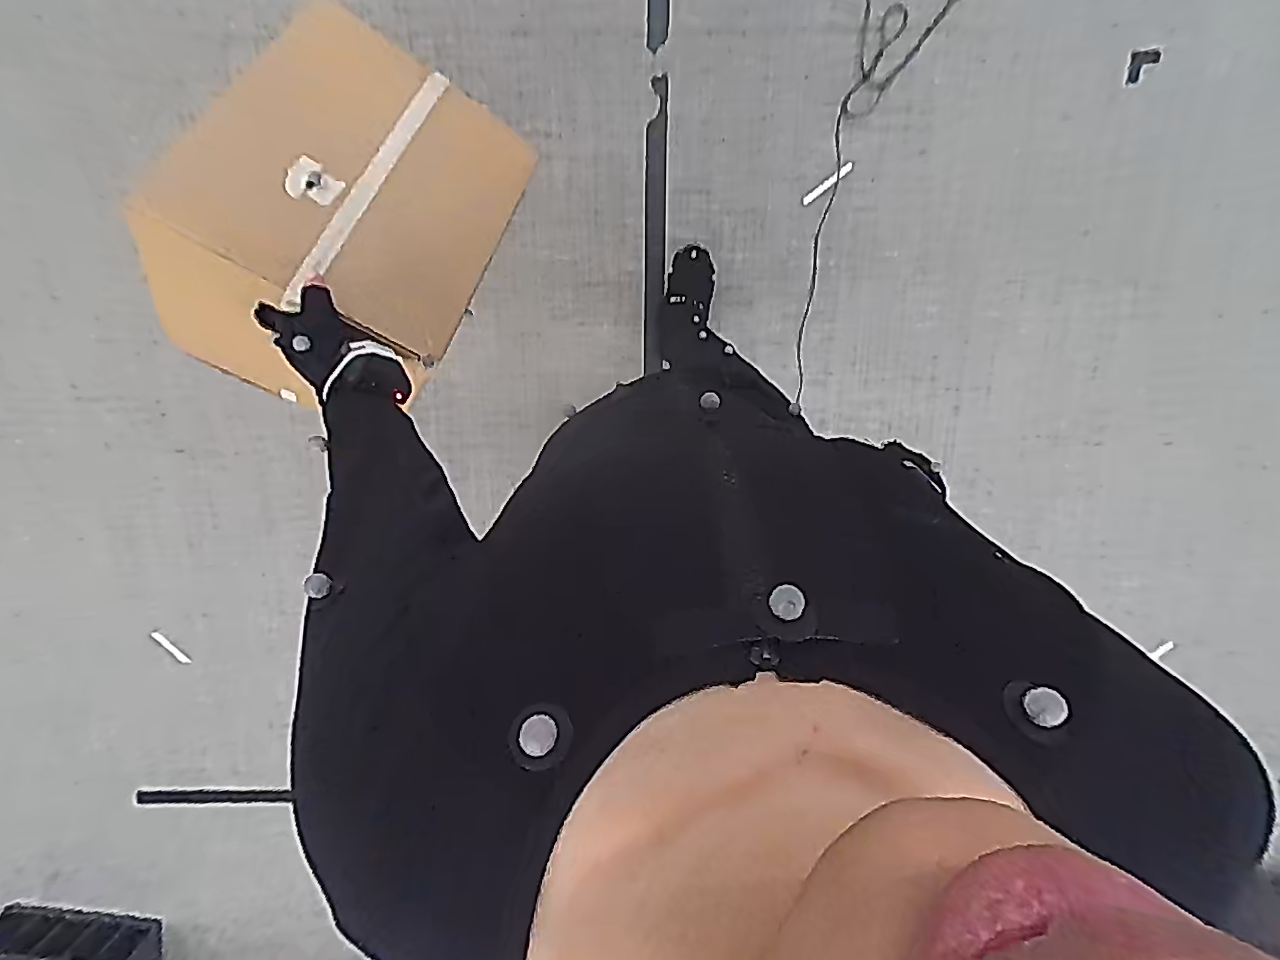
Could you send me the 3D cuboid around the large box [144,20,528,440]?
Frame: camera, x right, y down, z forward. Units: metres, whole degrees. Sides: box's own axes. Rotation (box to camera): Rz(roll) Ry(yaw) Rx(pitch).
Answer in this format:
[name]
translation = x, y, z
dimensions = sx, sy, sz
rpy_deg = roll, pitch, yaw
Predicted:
[large box]
translation = -0.415, -0.333, 0.809
dimensions = 0.320, 0.320, 0.408
rpy_deg = 26, 63, -23
